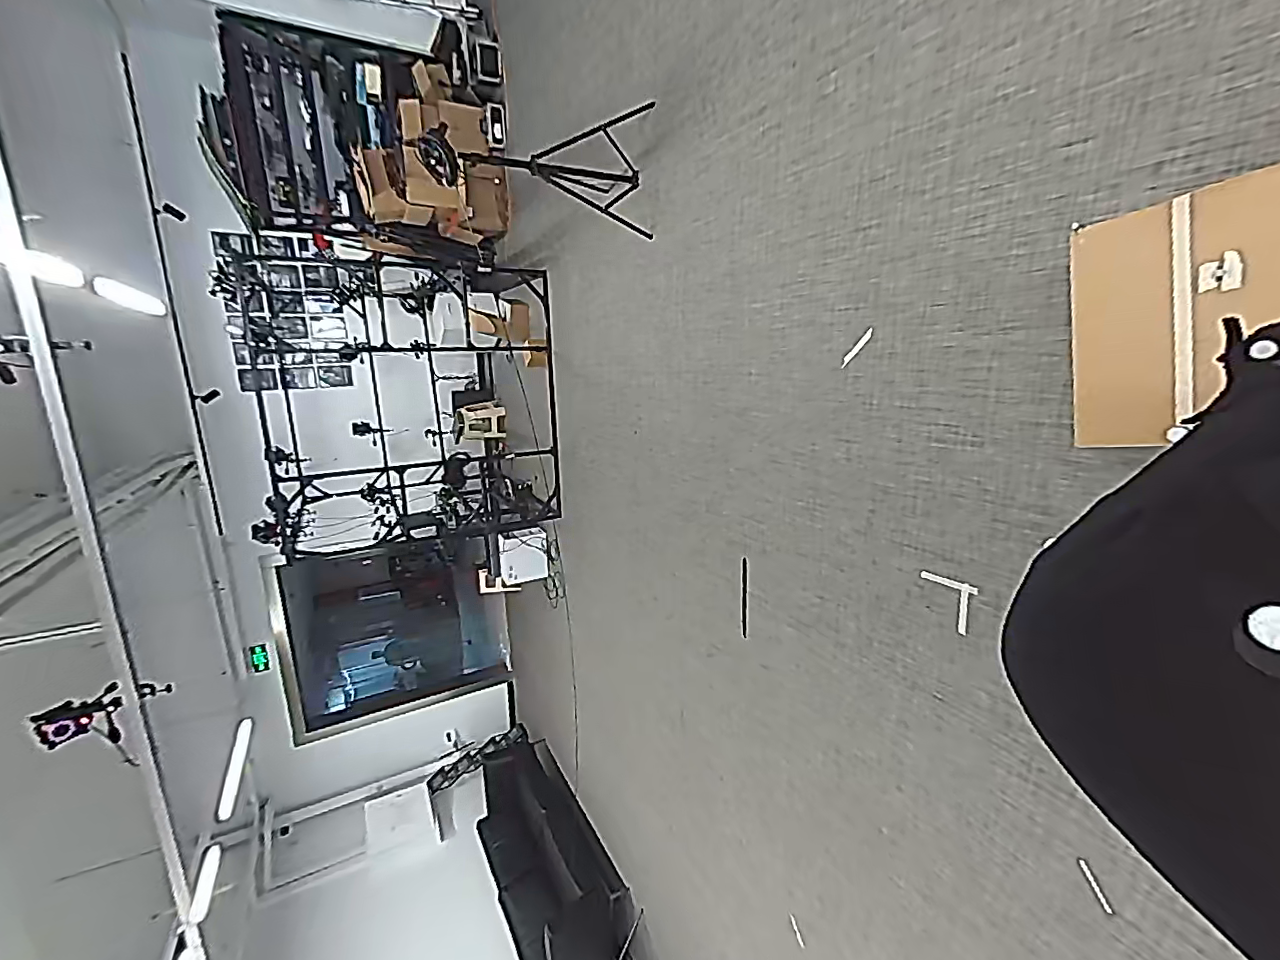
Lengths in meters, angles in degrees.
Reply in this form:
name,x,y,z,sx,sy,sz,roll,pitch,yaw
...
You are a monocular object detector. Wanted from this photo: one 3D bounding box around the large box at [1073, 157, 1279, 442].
name,x,y,z,sx,sy,sz,roll,pitch,yaw
large box,1.019,-0.282,0.942,0.320,0.320,0.408,3,99,62
